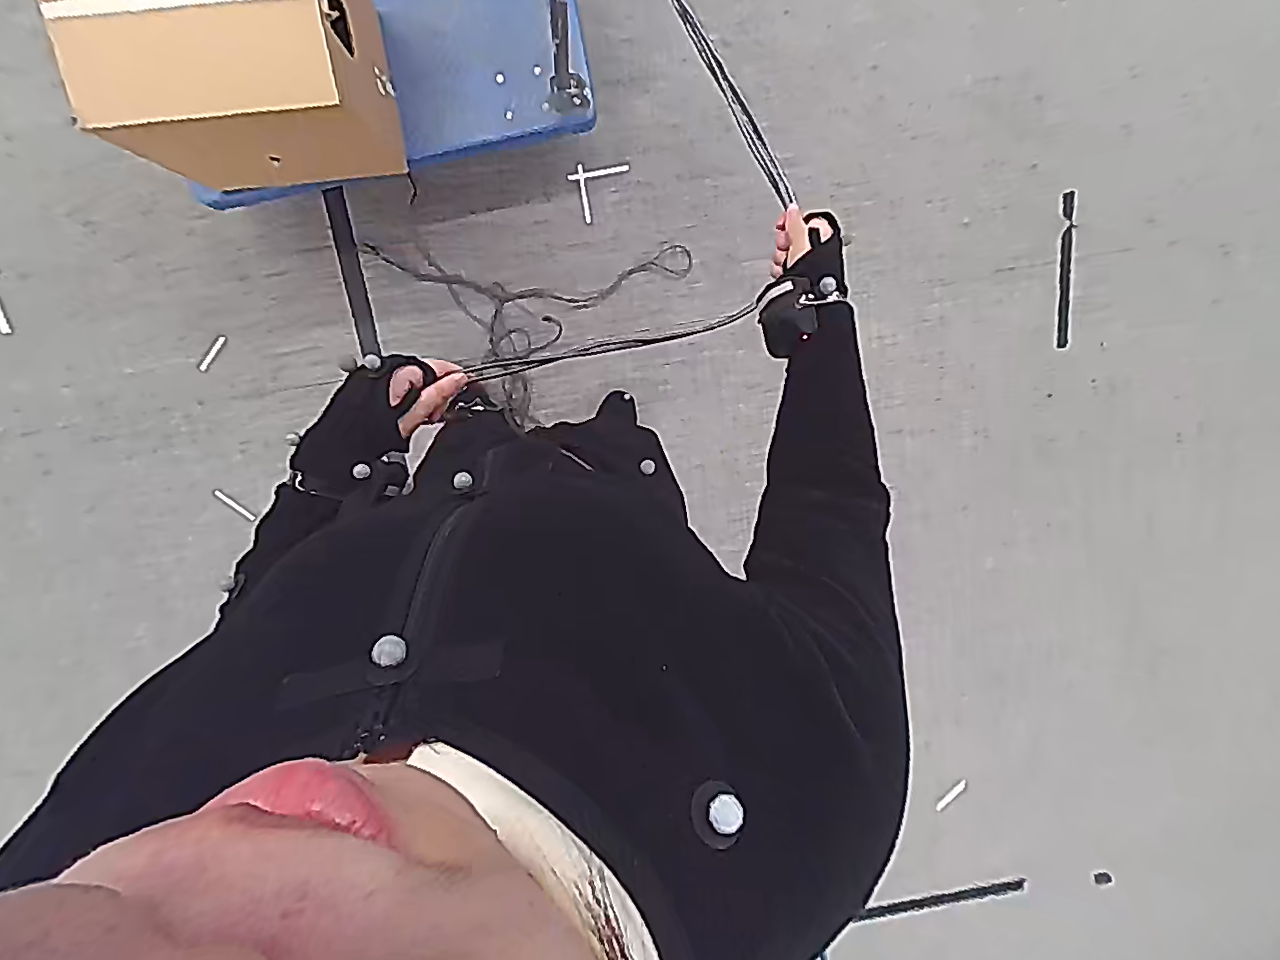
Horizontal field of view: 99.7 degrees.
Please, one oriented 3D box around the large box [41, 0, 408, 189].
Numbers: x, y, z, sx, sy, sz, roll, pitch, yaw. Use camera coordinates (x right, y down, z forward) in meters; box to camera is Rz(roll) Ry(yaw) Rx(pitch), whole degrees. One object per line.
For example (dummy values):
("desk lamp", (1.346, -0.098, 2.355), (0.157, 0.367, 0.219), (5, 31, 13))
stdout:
("large box", (-0.689, -0.744, 0.953), (0.408, 0.320, 0.320), (-7, 102, -2))
